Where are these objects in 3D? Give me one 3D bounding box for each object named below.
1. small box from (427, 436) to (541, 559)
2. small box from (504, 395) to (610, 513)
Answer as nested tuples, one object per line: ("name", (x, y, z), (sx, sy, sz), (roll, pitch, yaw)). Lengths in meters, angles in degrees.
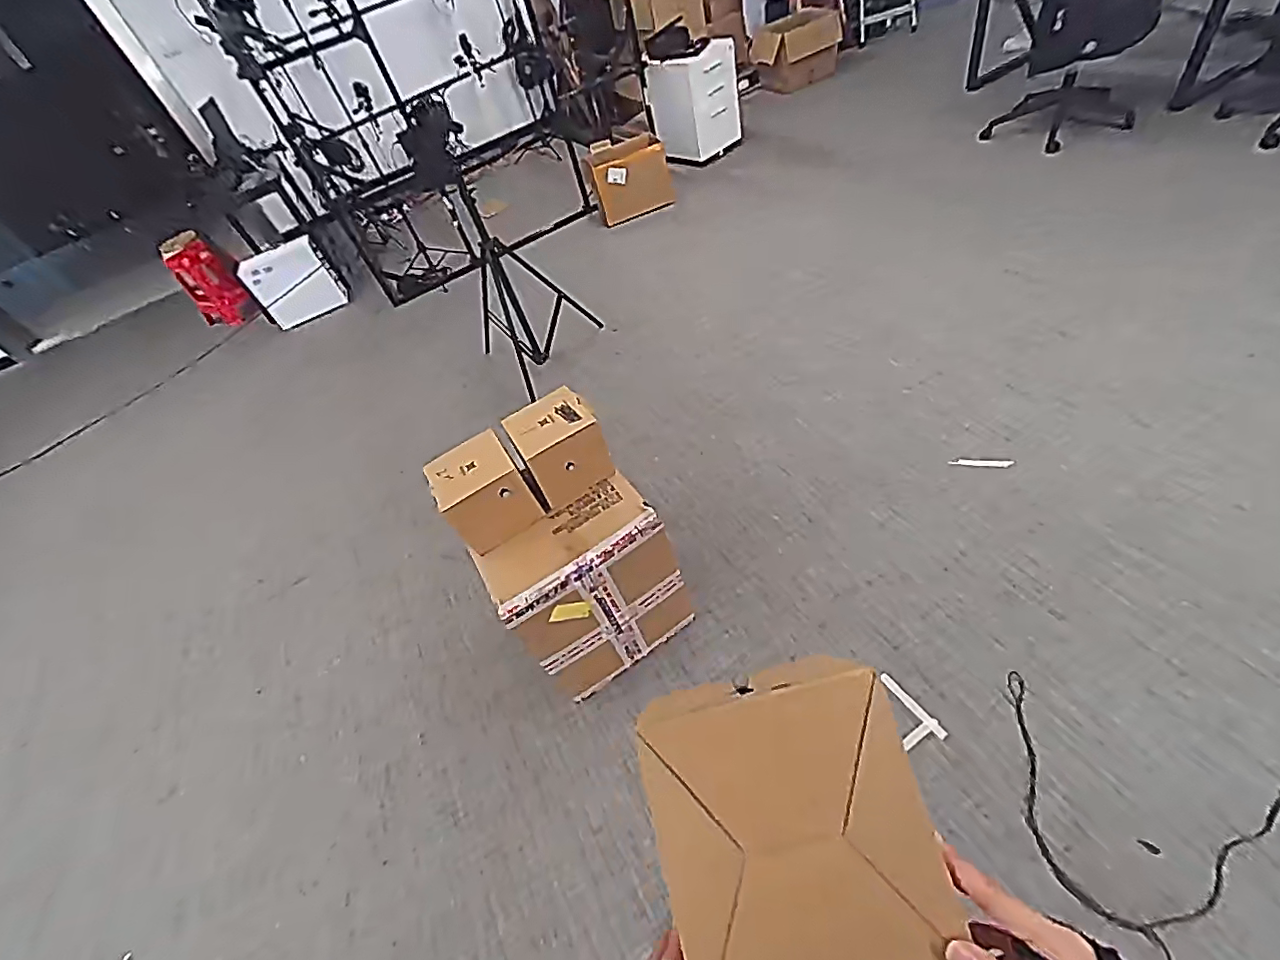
("small box", (-0.341, 0.041, 1.213), (0.179, 0.176, 0.168), (-33, 47, -8))
("small box", (-0.183, -0.060, 1.252), (0.179, 0.176, 0.168), (-31, 48, -11))
